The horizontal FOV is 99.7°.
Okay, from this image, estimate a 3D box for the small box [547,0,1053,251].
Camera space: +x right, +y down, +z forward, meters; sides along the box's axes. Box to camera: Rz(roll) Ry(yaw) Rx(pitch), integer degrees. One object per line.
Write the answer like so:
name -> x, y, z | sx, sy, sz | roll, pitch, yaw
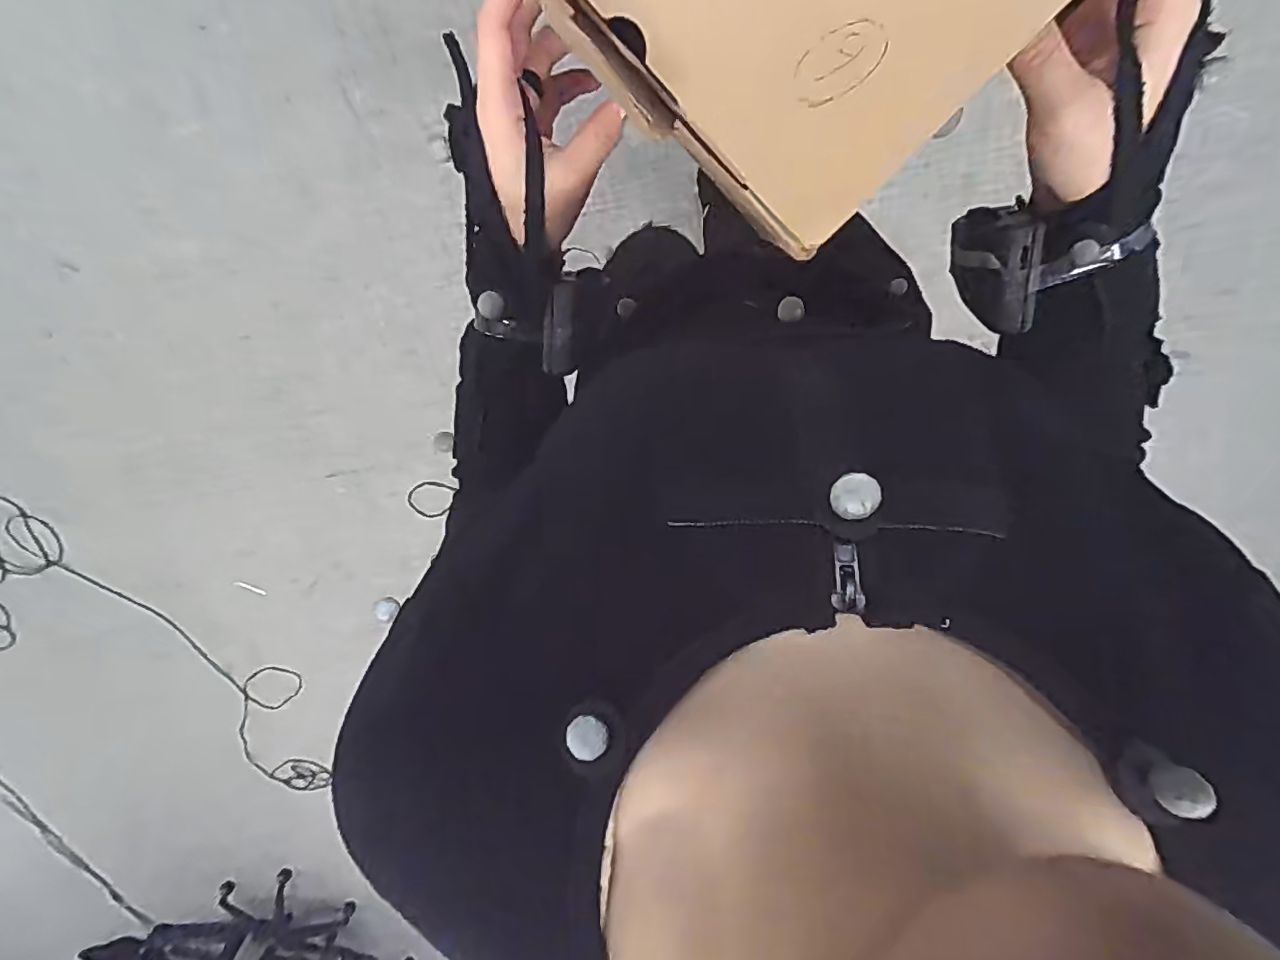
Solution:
small box -> 0.066, -0.218, 0.209 | 0.168, 0.176, 0.179 | 41, 115, -12
